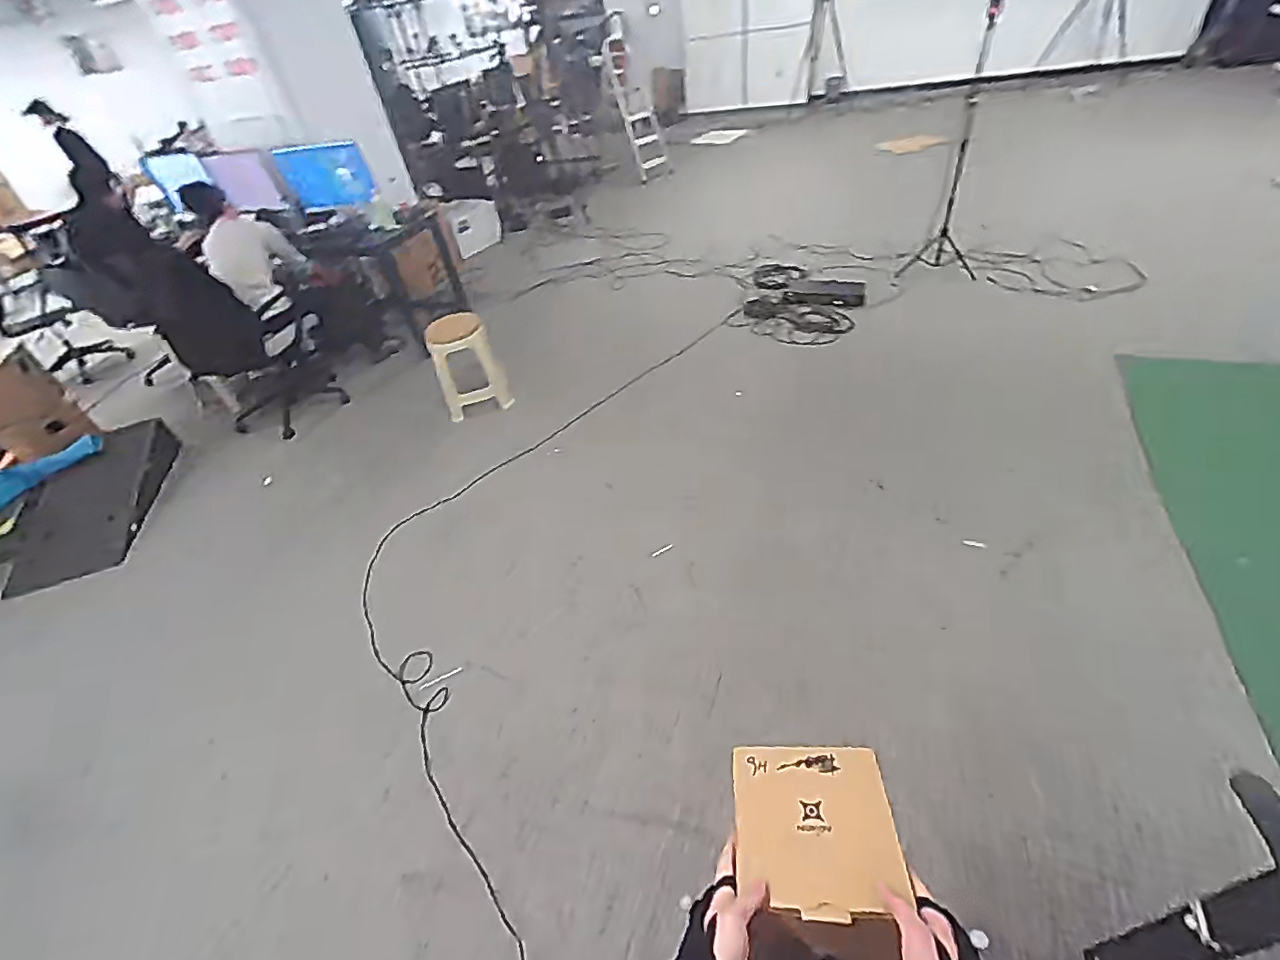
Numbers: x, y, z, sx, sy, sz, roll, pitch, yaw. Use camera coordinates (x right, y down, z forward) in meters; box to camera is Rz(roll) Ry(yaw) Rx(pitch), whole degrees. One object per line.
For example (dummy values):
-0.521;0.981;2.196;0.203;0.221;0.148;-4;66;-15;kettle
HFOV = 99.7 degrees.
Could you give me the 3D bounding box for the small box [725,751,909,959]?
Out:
0.194;0.449;0.626;0.168;0.176;0.179;-7;27;8;small box
